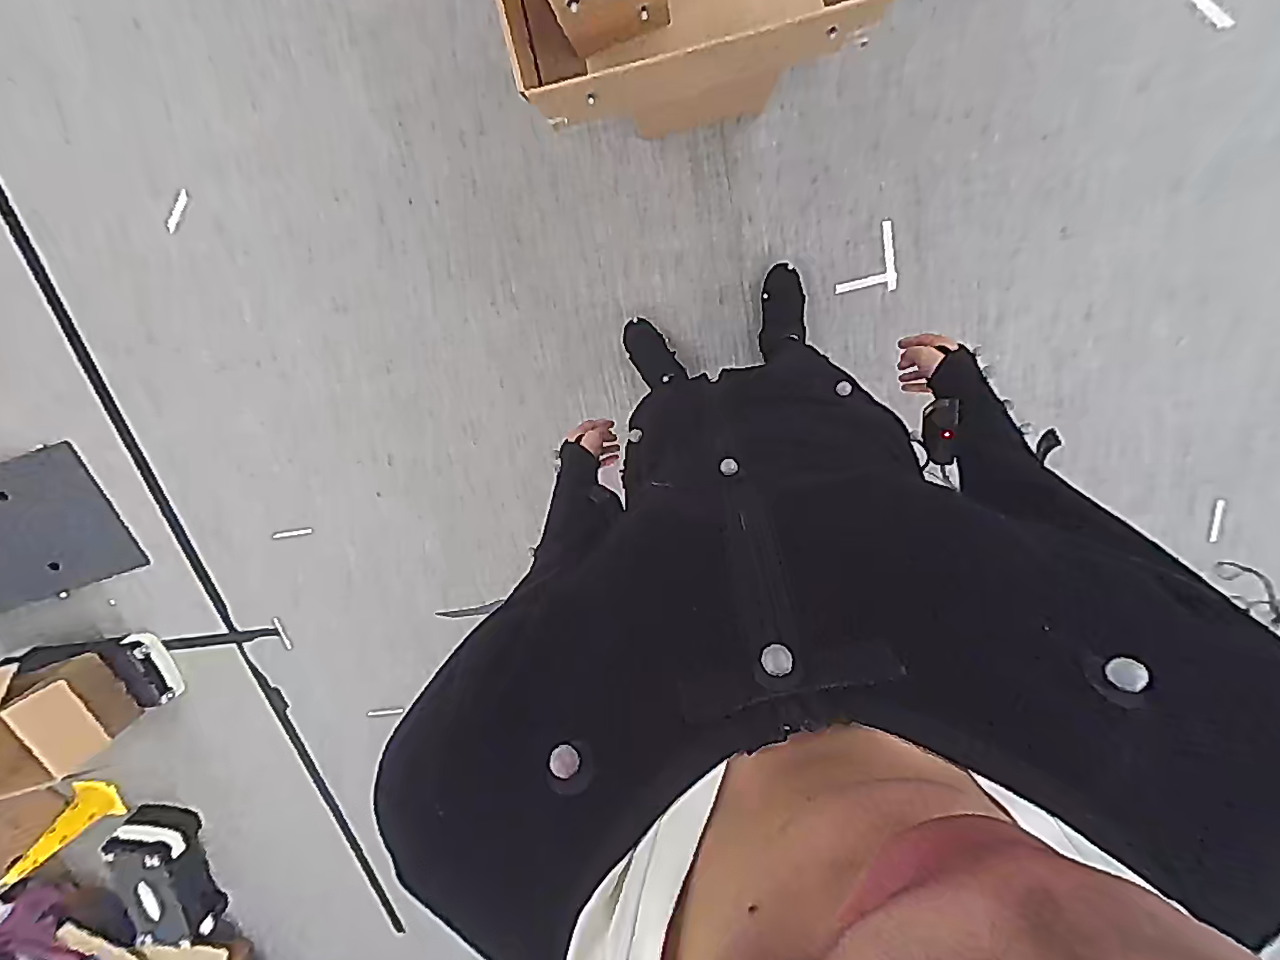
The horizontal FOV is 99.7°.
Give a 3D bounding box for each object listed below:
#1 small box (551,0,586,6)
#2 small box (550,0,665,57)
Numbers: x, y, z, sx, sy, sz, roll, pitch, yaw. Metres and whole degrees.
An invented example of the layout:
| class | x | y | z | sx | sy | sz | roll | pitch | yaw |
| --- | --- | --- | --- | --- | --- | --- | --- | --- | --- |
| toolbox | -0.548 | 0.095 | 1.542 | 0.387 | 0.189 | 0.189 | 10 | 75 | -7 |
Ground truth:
| class | x | y | z | sx | sy | sz | roll | pitch | yaw |
| --- | --- | --- | --- | --- | --- | --- | --- | --- | --- |
| small box | -0.082 | -0.777 | 0.713 | 0.168 | 0.176 | 0.179 | -12 | 107 | 10 |
| small box | -0.061 | -0.829 | 0.867 | 0.179 | 0.176 | 0.168 | -13 | 108 | 12 |
